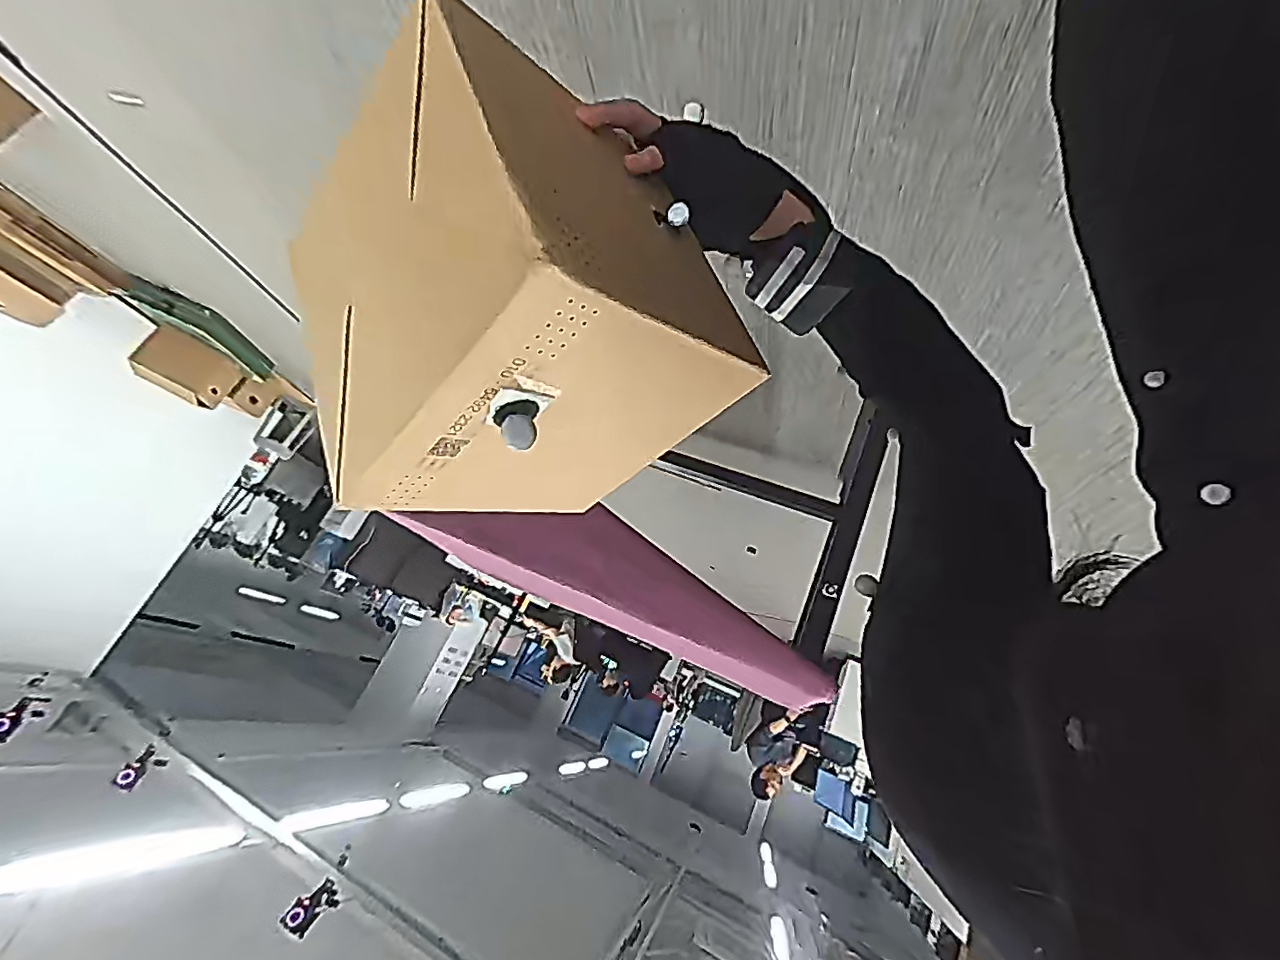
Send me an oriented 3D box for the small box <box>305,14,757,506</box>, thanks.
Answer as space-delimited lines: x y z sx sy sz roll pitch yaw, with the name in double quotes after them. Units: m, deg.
-0.070 -0.099 0.311 0.168 0.179 0.176 -36 155 34 "small box"
